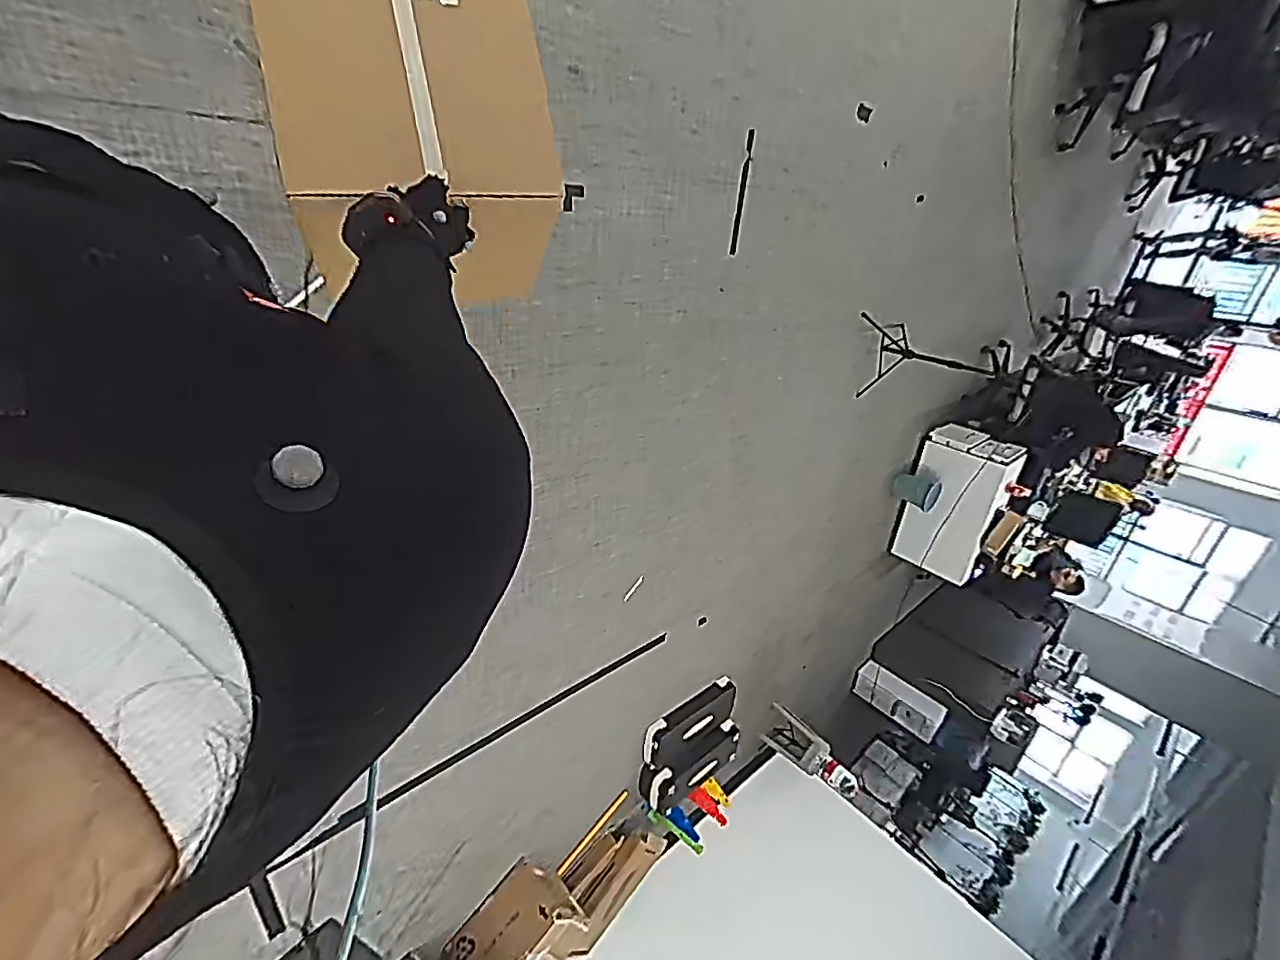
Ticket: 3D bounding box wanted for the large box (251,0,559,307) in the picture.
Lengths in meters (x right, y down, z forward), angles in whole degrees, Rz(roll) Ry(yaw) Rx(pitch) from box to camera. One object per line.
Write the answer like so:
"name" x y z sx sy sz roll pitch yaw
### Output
"large box" -0.338 -0.516 0.797 0.320 0.320 0.408 -11 88 -22
